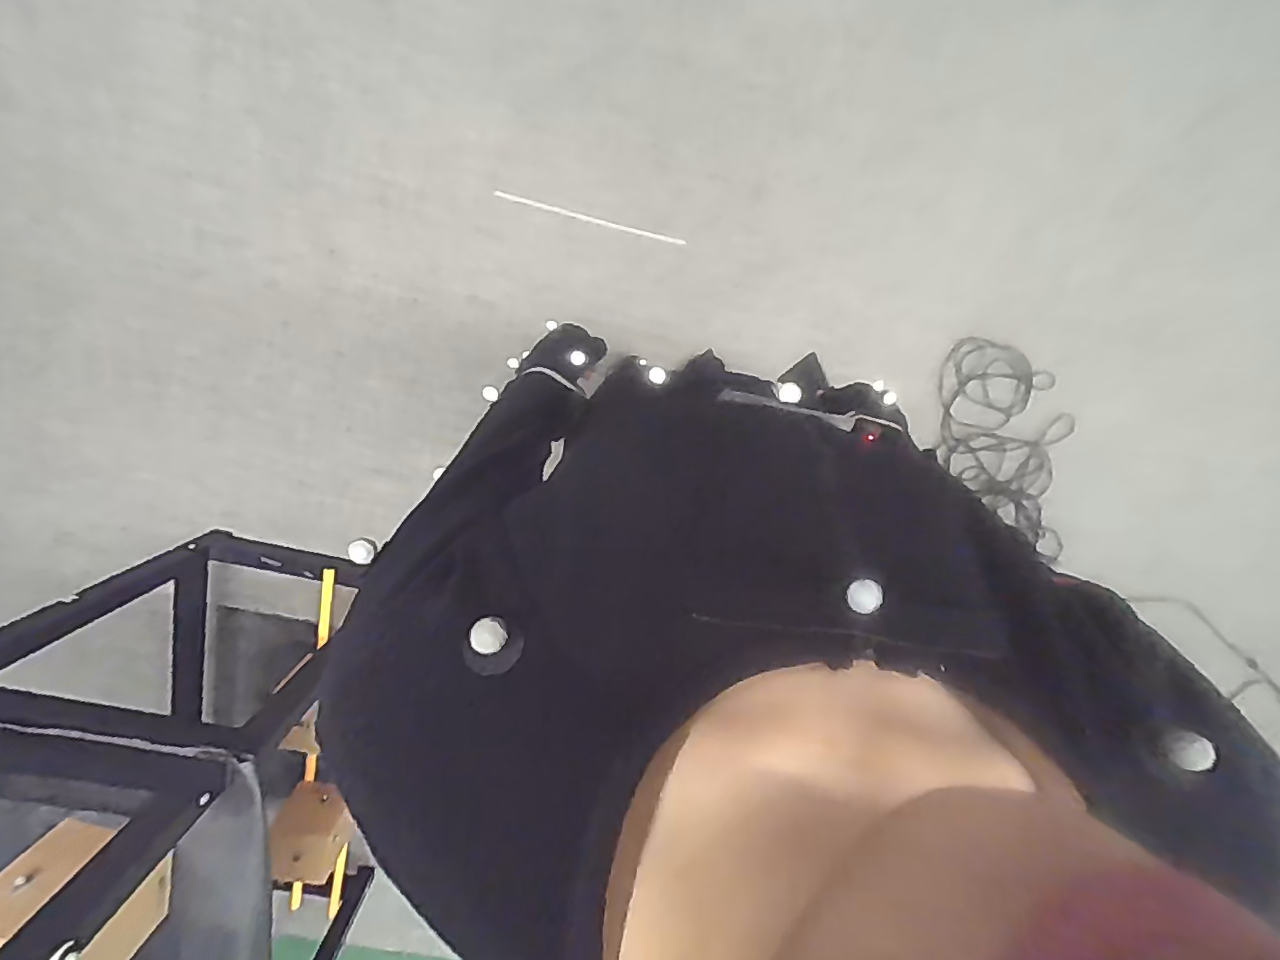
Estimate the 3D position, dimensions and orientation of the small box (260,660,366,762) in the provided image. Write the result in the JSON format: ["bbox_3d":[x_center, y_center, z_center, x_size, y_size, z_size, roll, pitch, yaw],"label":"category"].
[{"bbox_3d":[-0.857,0.604,1.431,0.179,0.176,0.168,16,103,-6],"label":"small box"}]
